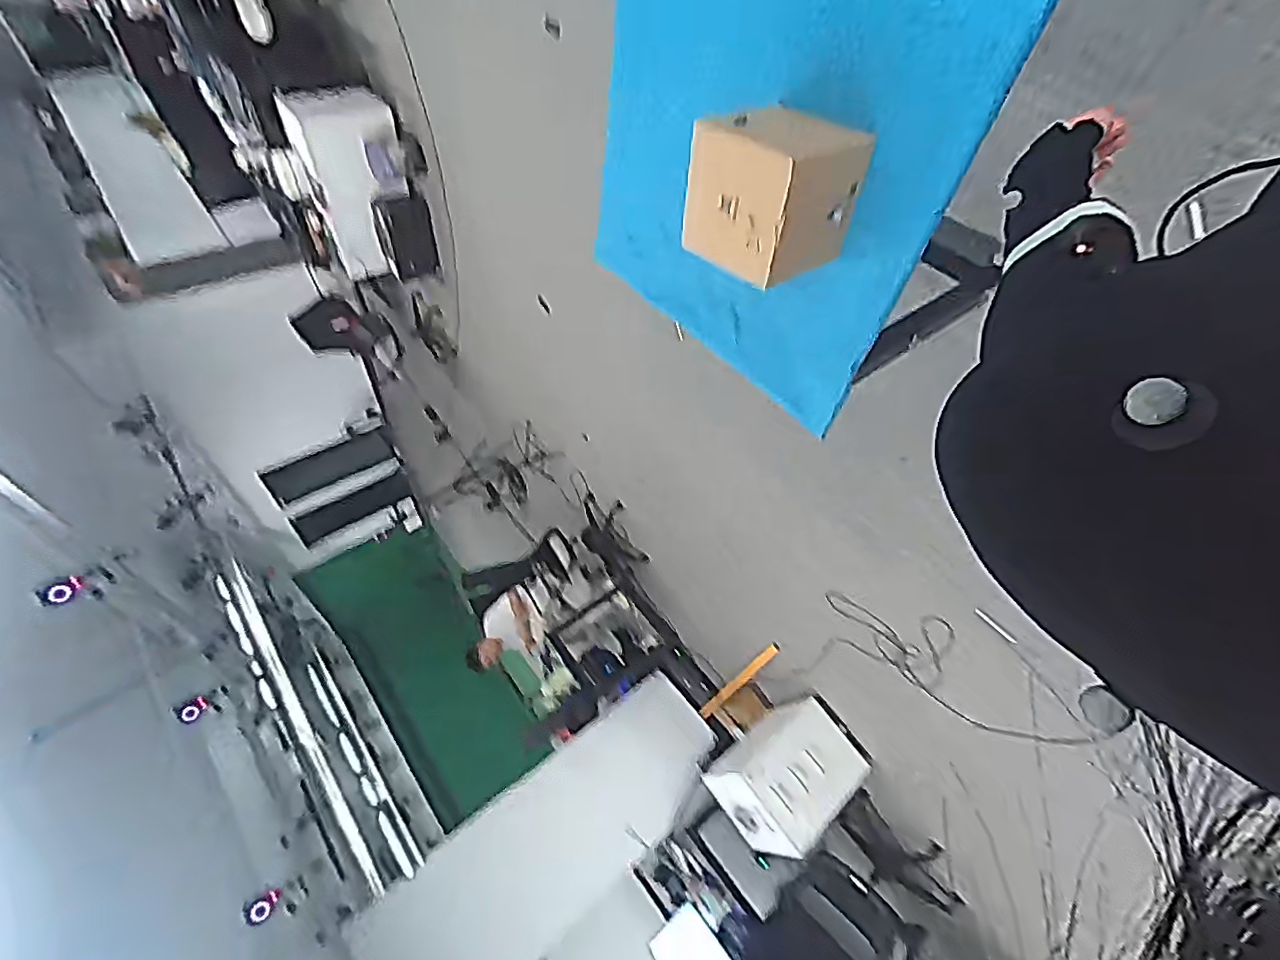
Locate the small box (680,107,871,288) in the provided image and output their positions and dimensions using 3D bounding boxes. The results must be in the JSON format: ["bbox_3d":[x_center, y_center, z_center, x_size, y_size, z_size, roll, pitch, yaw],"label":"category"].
[{"bbox_3d":[0.186,-0.408,0.771,0.179,0.176,0.168,43,149,25],"label":"small box"}]
